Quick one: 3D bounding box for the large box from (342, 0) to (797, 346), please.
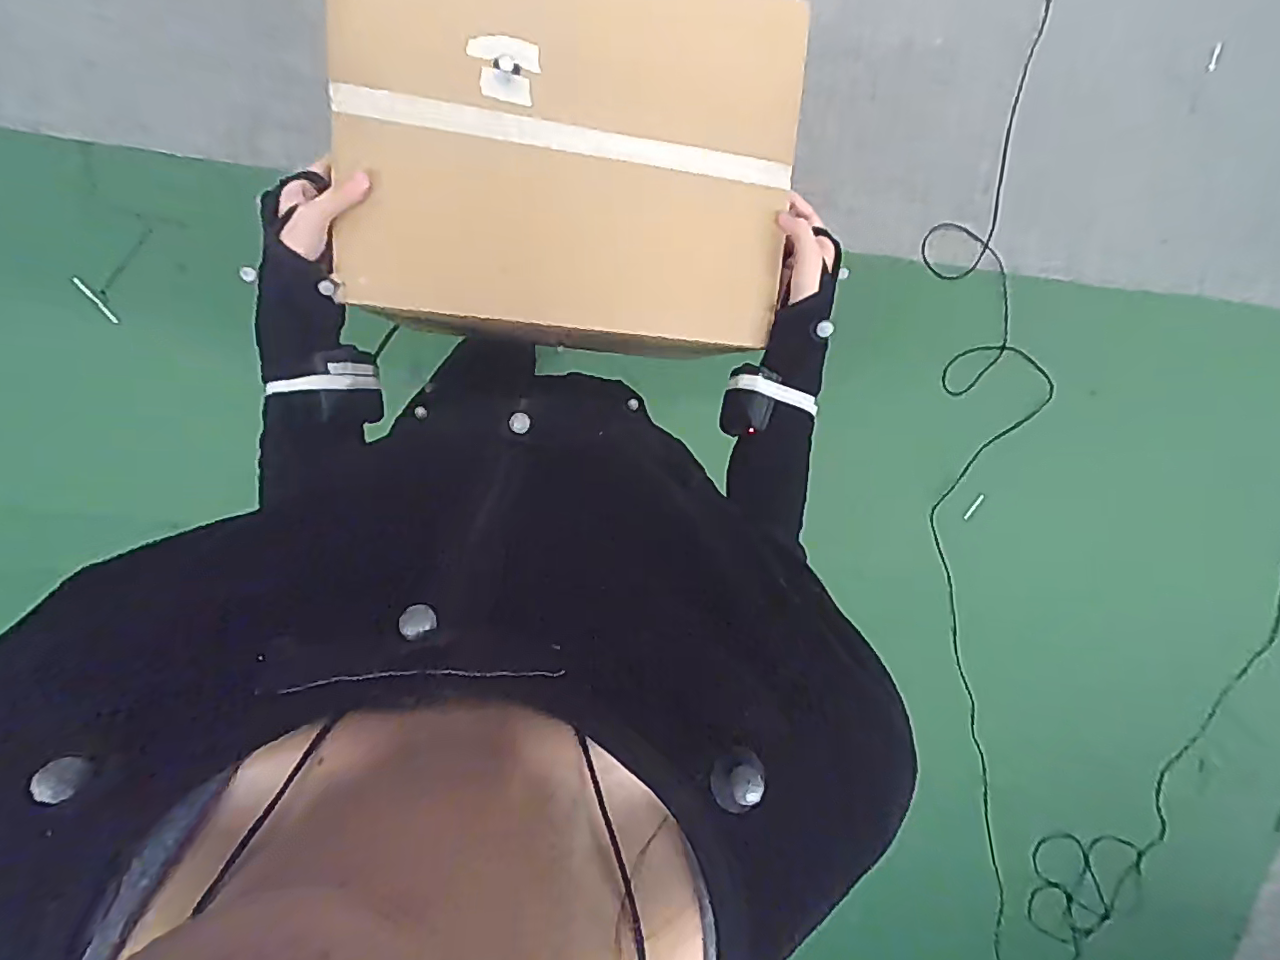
[{"bbox_3d":[-0.082,-0.332,0.637,0.408,0.320,0.320,3,100,-12],"label":"large box"}]
